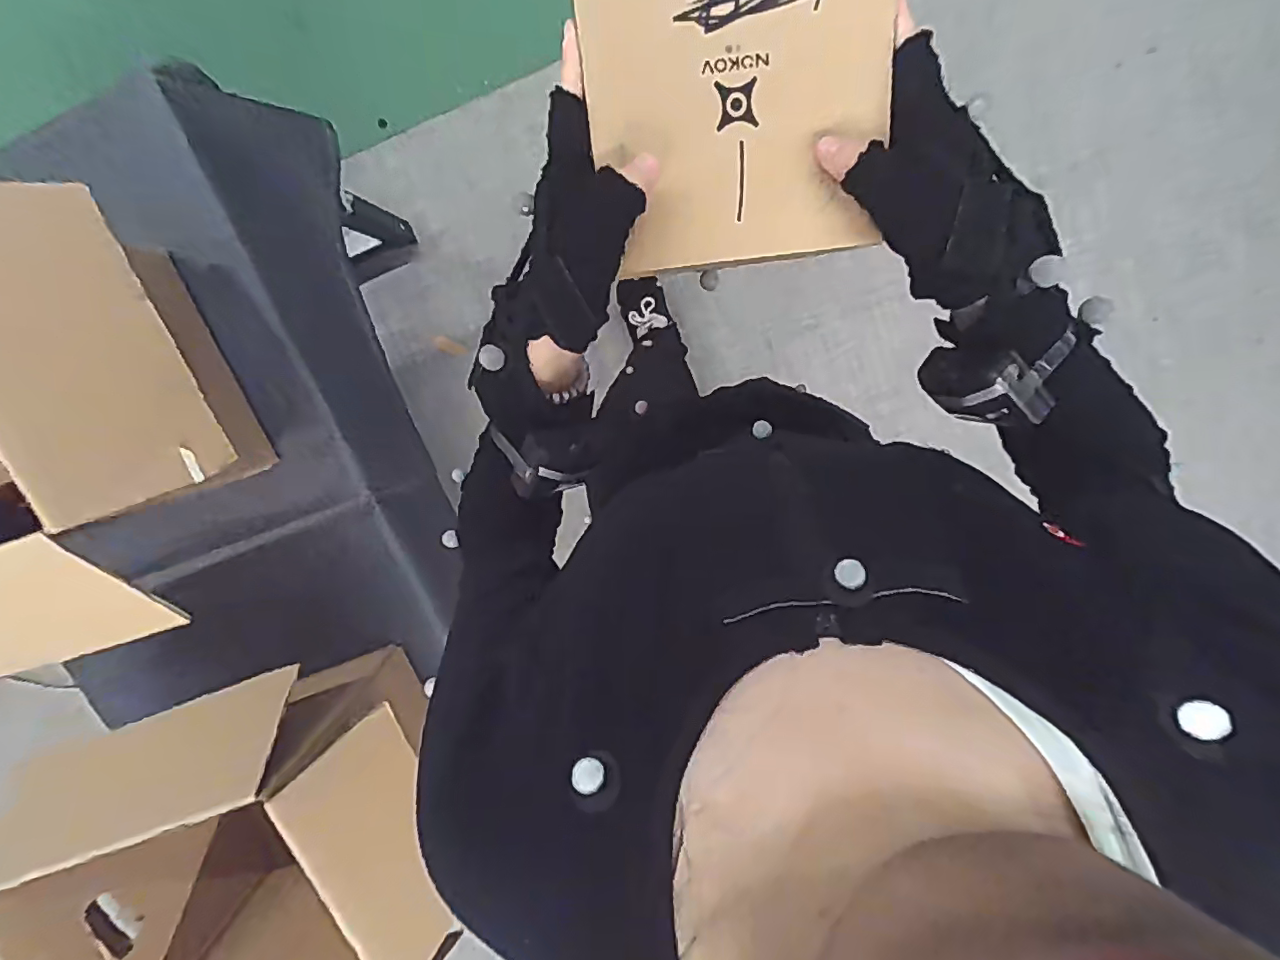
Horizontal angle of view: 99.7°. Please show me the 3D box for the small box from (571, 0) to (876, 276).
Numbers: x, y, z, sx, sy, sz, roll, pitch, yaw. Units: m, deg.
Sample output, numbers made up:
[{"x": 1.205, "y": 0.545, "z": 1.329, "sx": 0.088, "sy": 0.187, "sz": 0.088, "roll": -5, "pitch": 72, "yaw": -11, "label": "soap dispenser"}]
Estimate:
[{"x": 0.044, "y": -0.243, "z": 0.374, "sx": 0.168, "sy": 0.176, "sz": 0.179, "roll": -6, "pitch": 110, "yaw": 0, "label": "small box"}]
